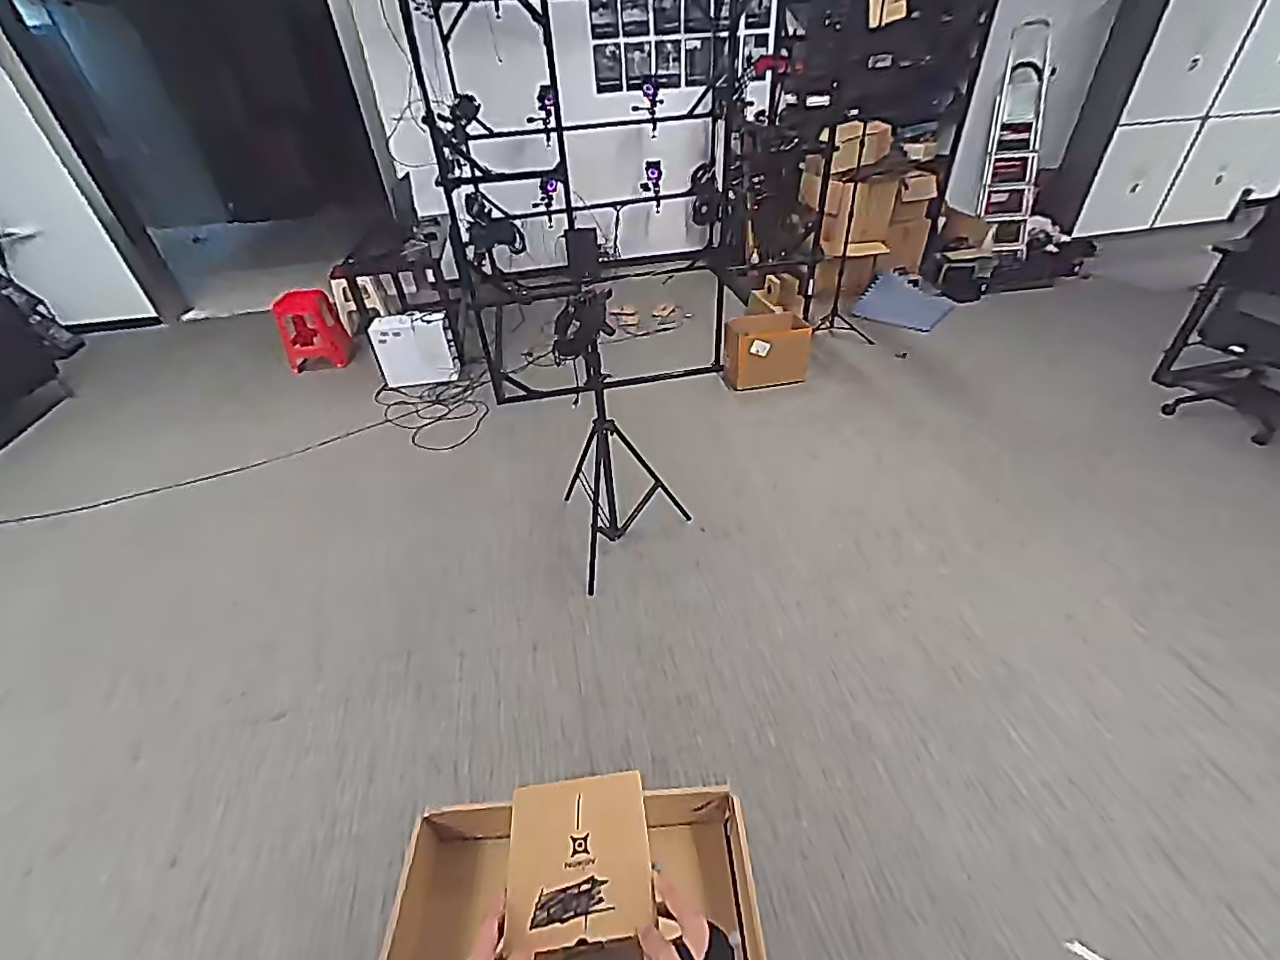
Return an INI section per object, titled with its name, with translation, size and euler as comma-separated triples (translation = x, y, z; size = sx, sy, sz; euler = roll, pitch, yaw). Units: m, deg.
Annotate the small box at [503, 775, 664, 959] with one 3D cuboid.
[small box]
translation = -0.064, 0.505, 0.668
size = 0.168, 0.176, 0.179
euler = -7, 33, -4
